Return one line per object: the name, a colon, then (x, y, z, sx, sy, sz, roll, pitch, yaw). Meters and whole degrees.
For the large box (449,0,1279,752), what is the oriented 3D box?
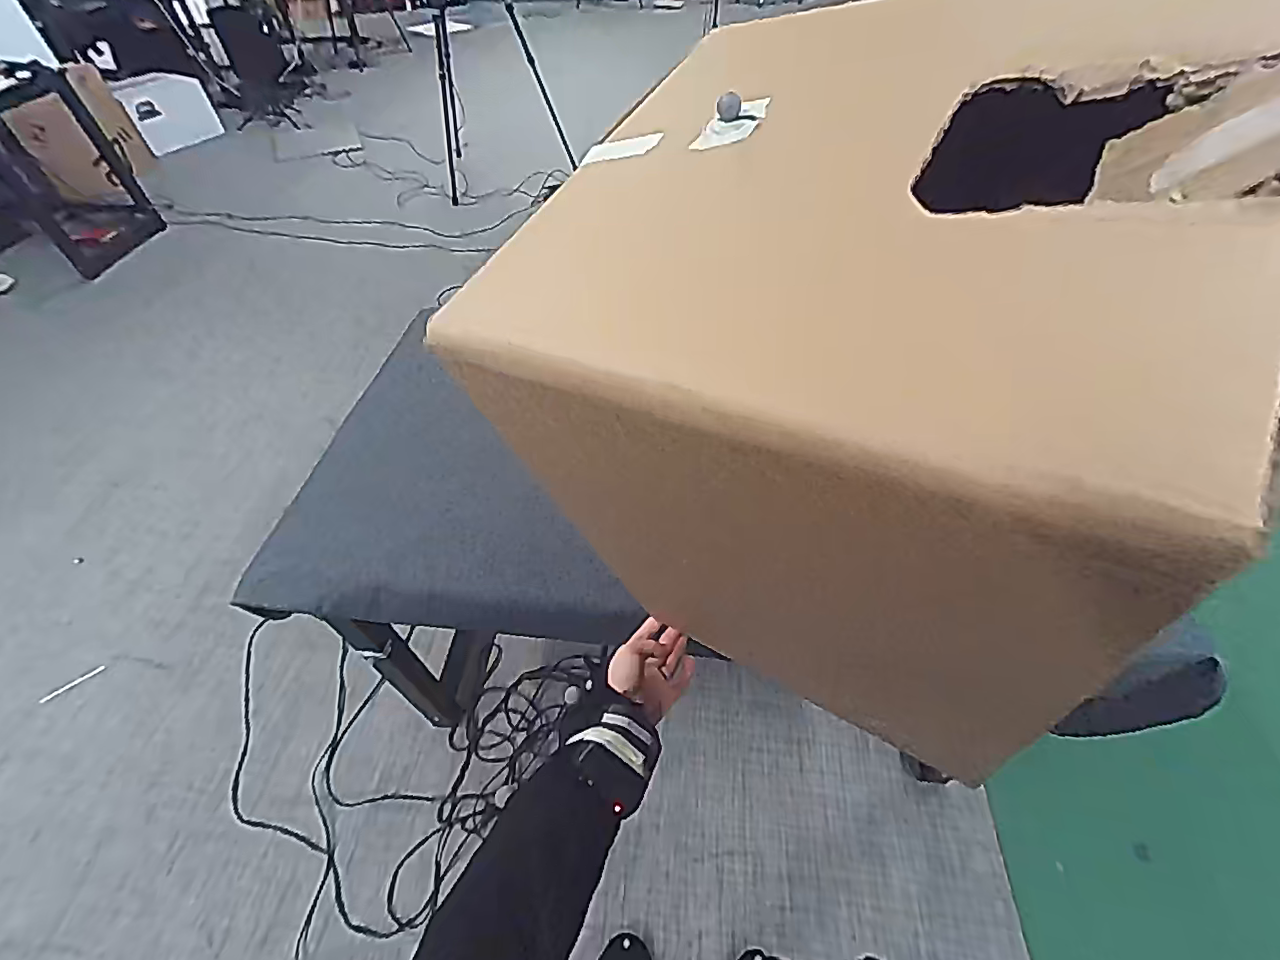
large box: (0.148, -0.044, 0.413, 0.320, 0.408, 0.320, 21, 67, 31)
